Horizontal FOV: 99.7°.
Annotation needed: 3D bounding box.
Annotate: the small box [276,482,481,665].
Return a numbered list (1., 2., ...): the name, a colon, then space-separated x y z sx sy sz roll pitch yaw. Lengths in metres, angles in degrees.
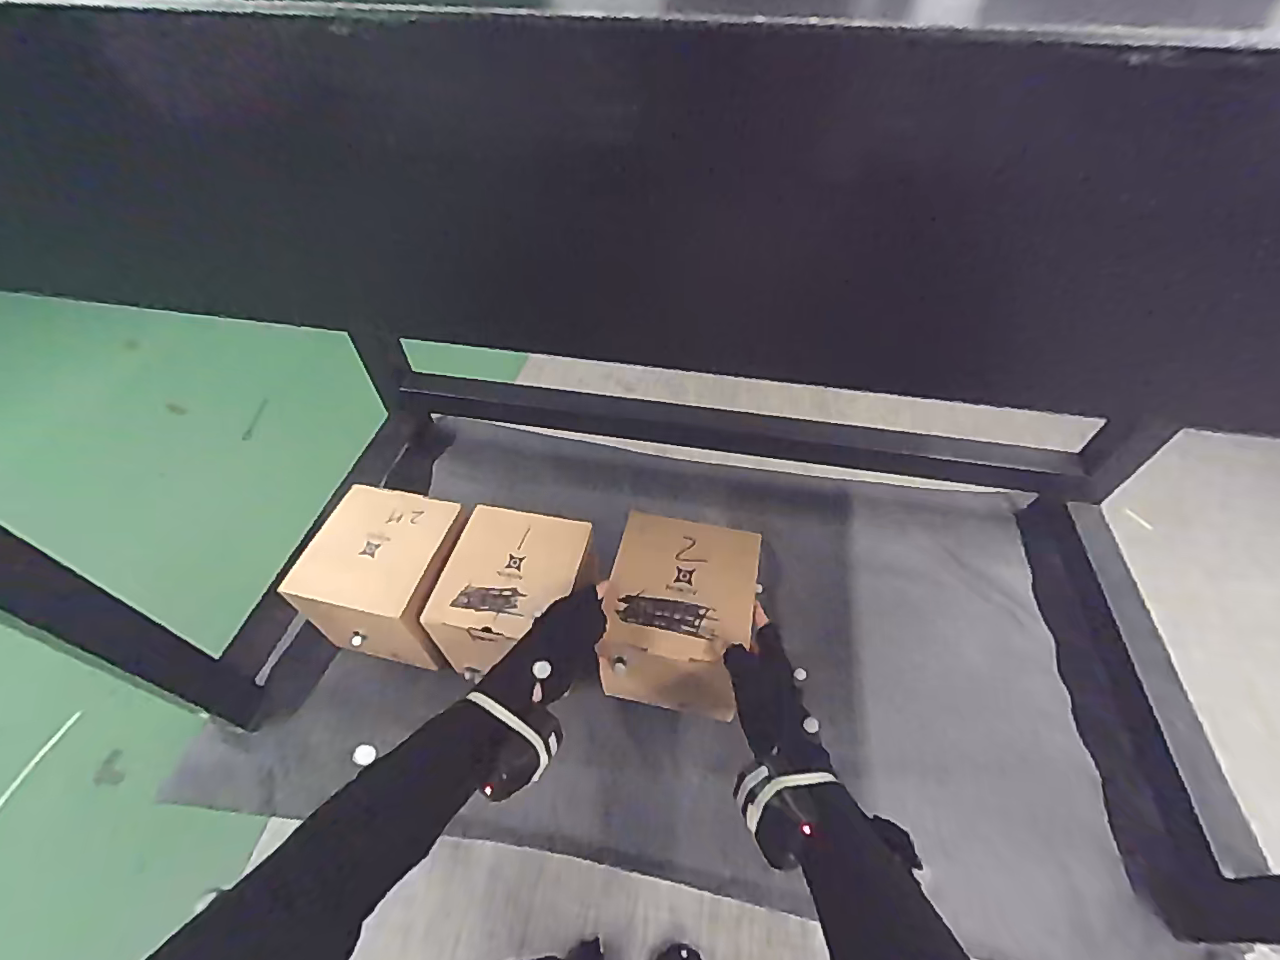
1. small box: -0.339 0.133 0.747 0.168 0.176 0.179 11 51 8
